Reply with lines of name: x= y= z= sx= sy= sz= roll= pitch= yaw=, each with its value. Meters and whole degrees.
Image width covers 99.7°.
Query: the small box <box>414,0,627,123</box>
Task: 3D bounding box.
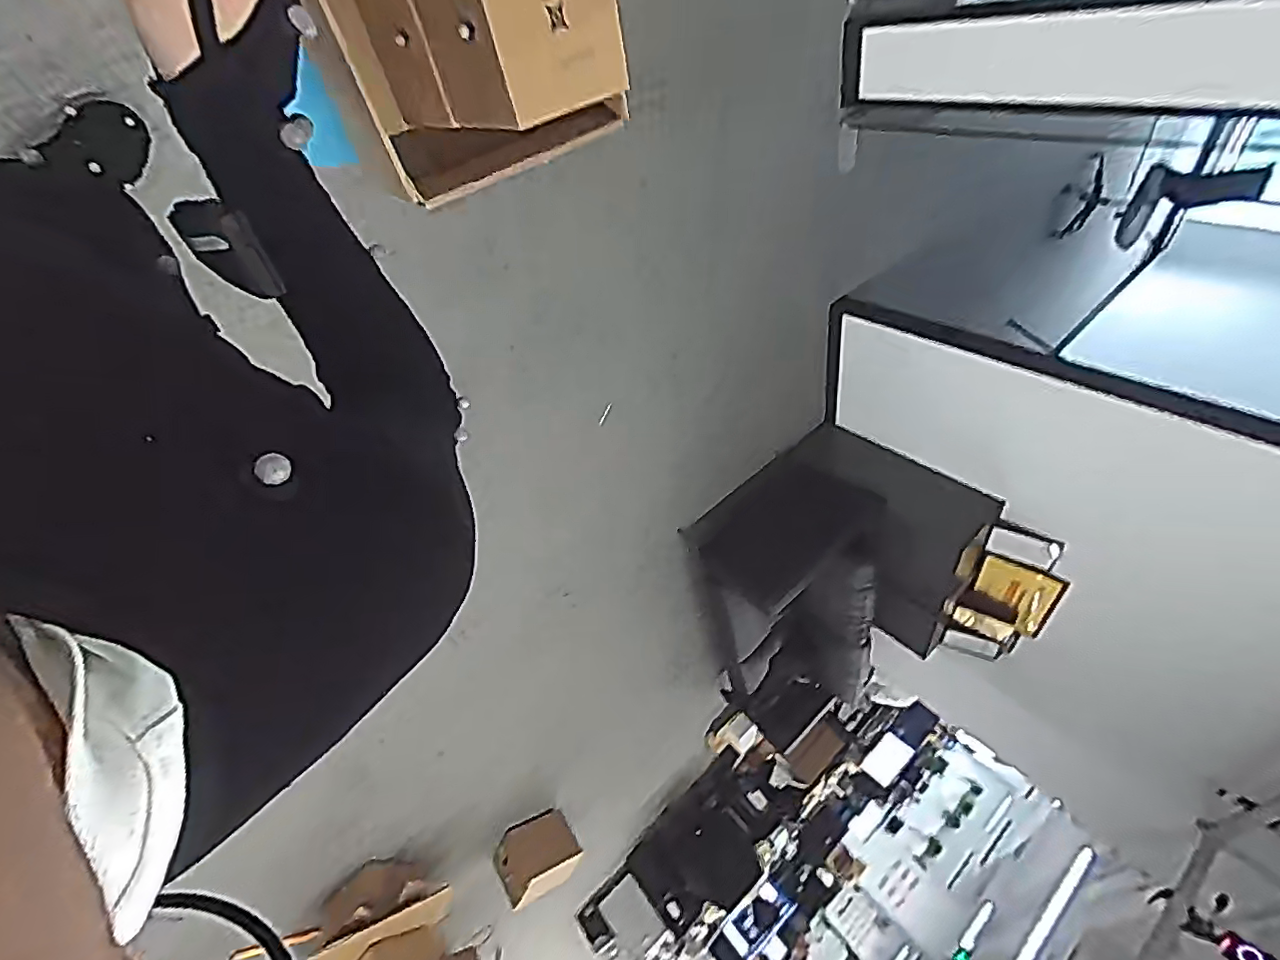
small box: x=-0.142 y=-0.533 z=0.621 sx=0.168 sy=0.176 sz=0.179 roll=-36 pitch=138 yaw=-22
